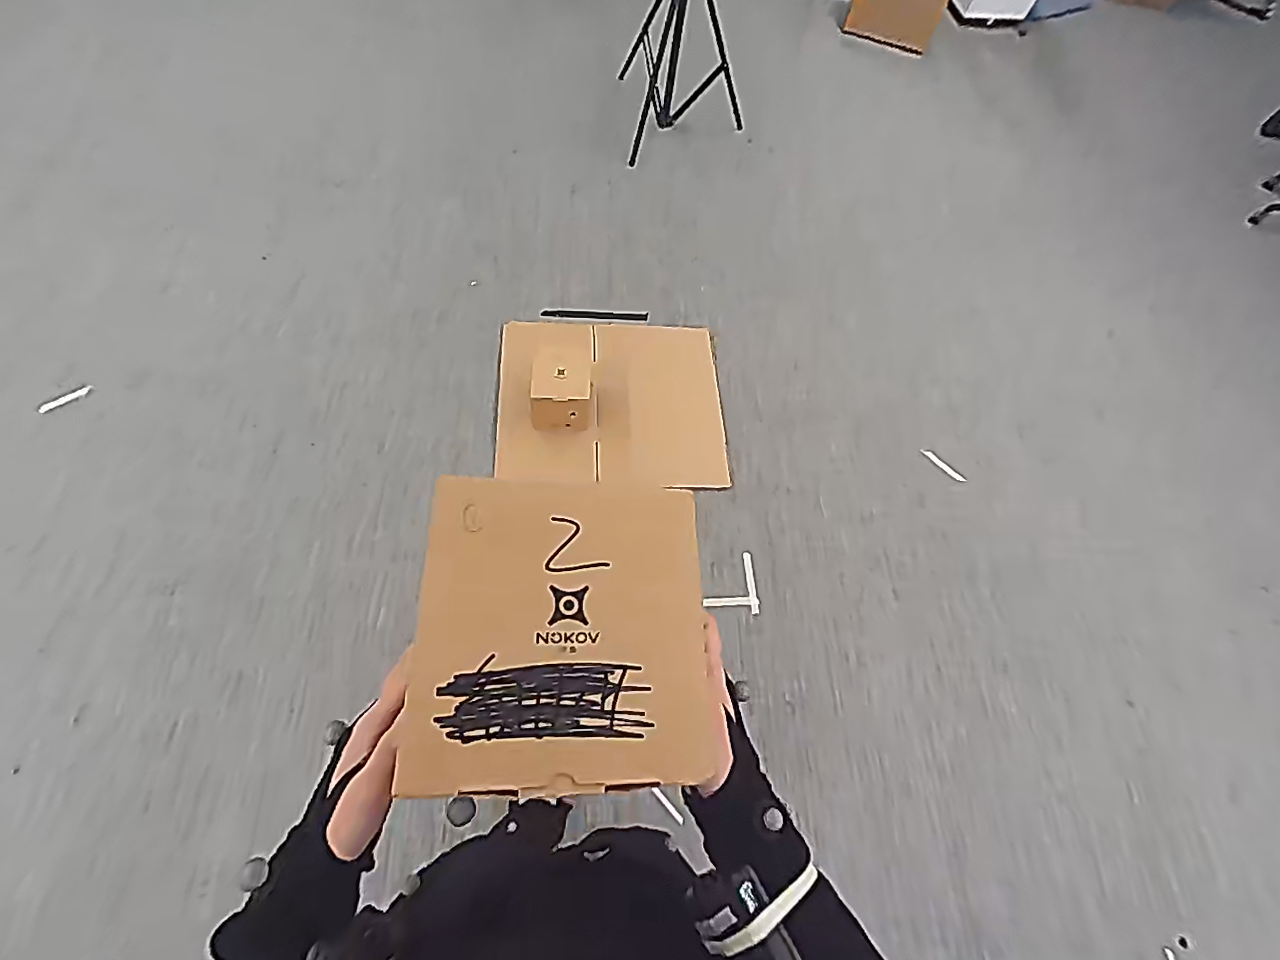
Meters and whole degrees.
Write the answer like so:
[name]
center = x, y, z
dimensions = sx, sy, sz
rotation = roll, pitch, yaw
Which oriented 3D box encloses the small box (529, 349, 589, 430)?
[small box]
center = -0.238, -0.262, 1.600
dimensions = 0.168, 0.176, 0.179
rotation = 1, 64, -9
